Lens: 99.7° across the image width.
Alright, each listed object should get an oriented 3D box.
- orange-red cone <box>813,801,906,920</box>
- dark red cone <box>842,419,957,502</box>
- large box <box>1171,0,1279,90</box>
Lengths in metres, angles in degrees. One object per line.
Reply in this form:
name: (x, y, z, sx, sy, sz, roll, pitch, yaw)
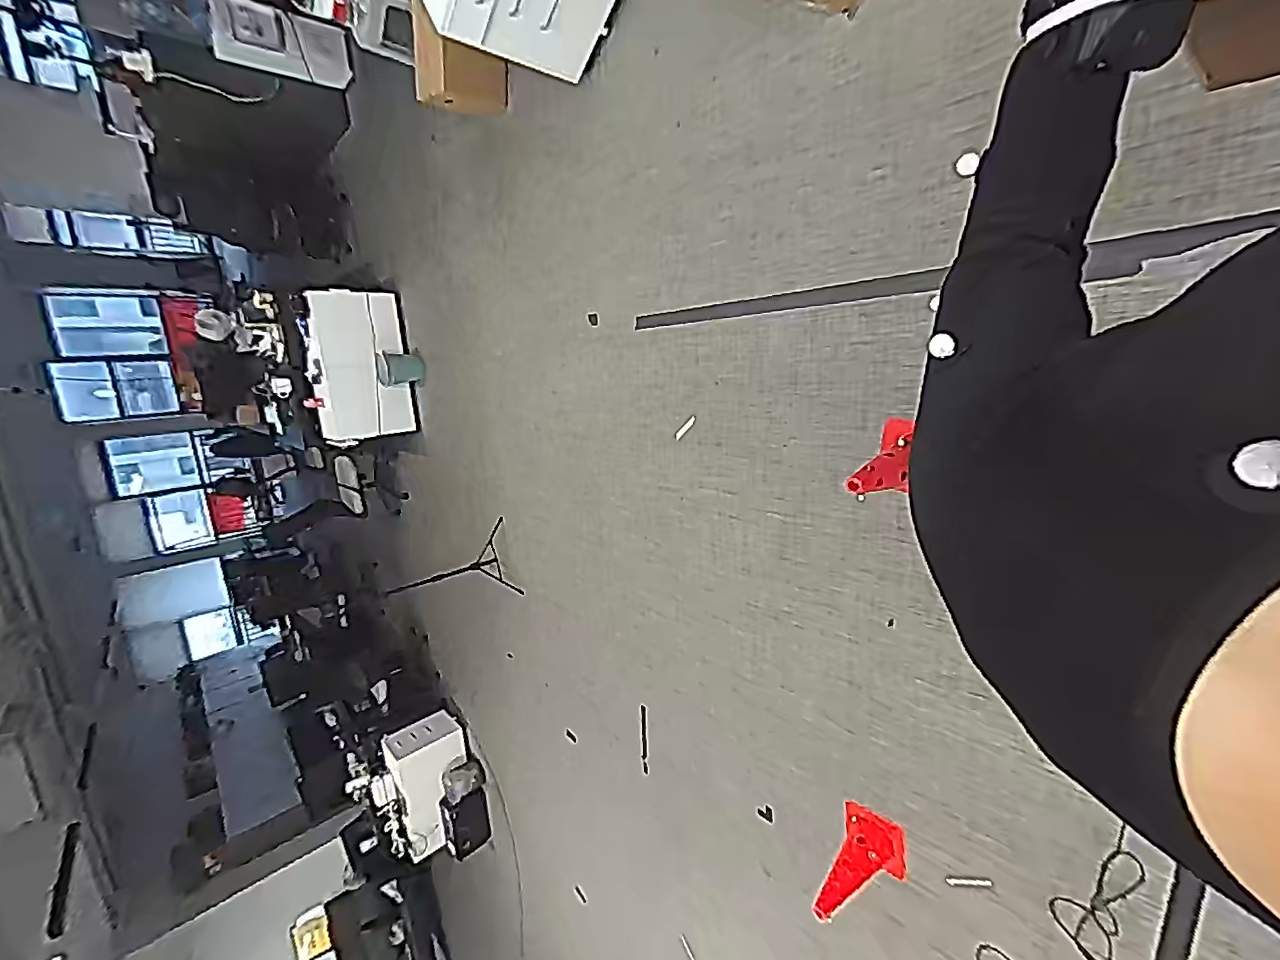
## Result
orange-red cone: (0.651, 1.226, 1.681, 0.198, 0.360, 0.199, 8, 108, 49)
dark red cone: (0.604, -0.024, 1.325, 0.201, 0.394, 0.202, 18, 114, 44)
large box: (0.545, -0.444, 0.238, 0.408, 0.320, 0.320, 14, 116, 46)
